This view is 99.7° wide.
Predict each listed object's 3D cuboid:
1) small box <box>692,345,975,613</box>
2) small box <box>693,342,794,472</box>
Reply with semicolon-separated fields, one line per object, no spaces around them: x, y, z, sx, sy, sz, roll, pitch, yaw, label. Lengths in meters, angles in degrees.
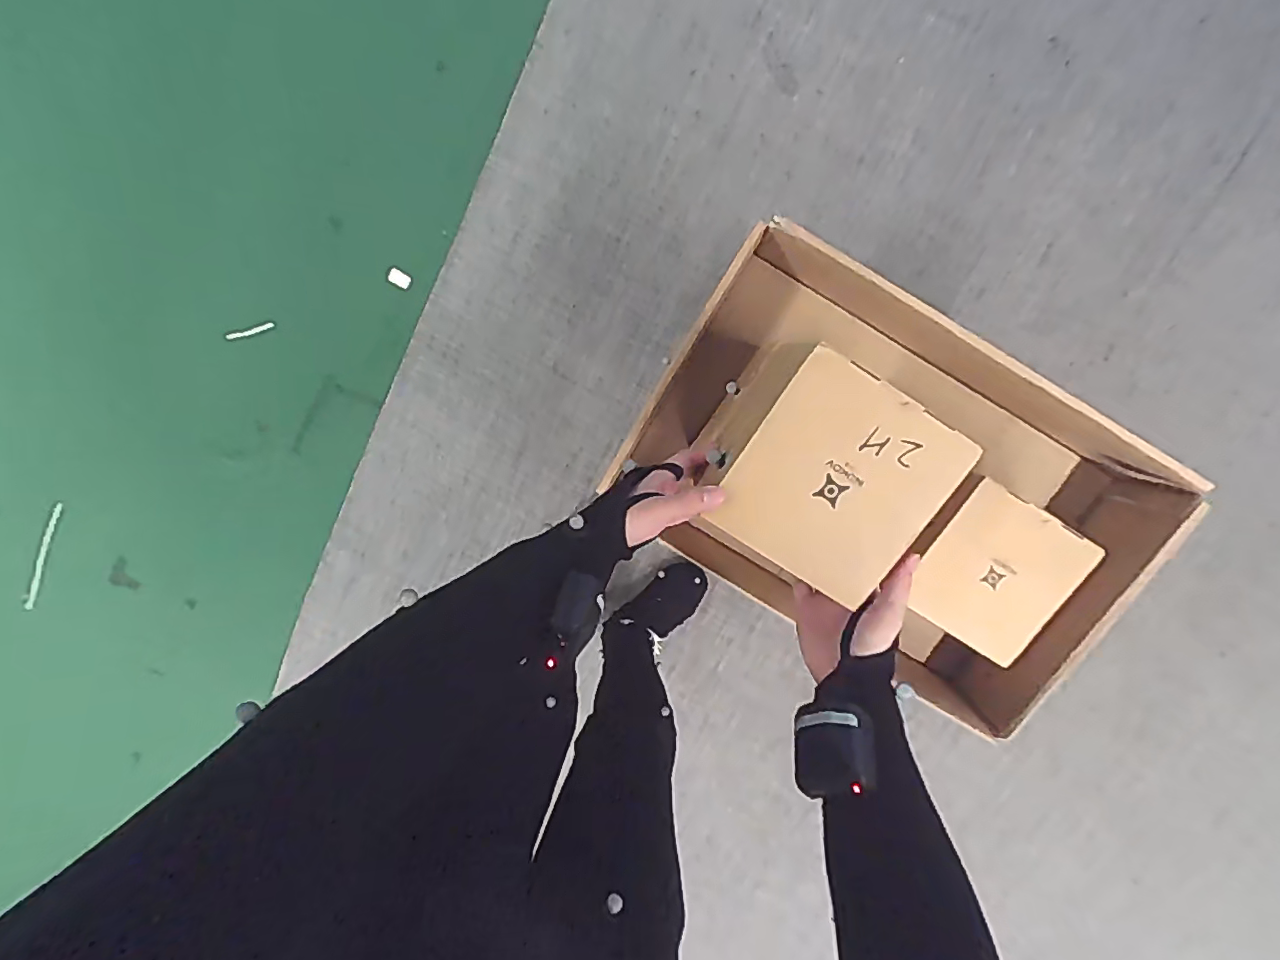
0.166;-0.011;0.529;0.168;0.176;0.179;32;102;-4;small box
0.178;-0.051;0.690;0.168;0.176;0.179;34;100;-1;small box
